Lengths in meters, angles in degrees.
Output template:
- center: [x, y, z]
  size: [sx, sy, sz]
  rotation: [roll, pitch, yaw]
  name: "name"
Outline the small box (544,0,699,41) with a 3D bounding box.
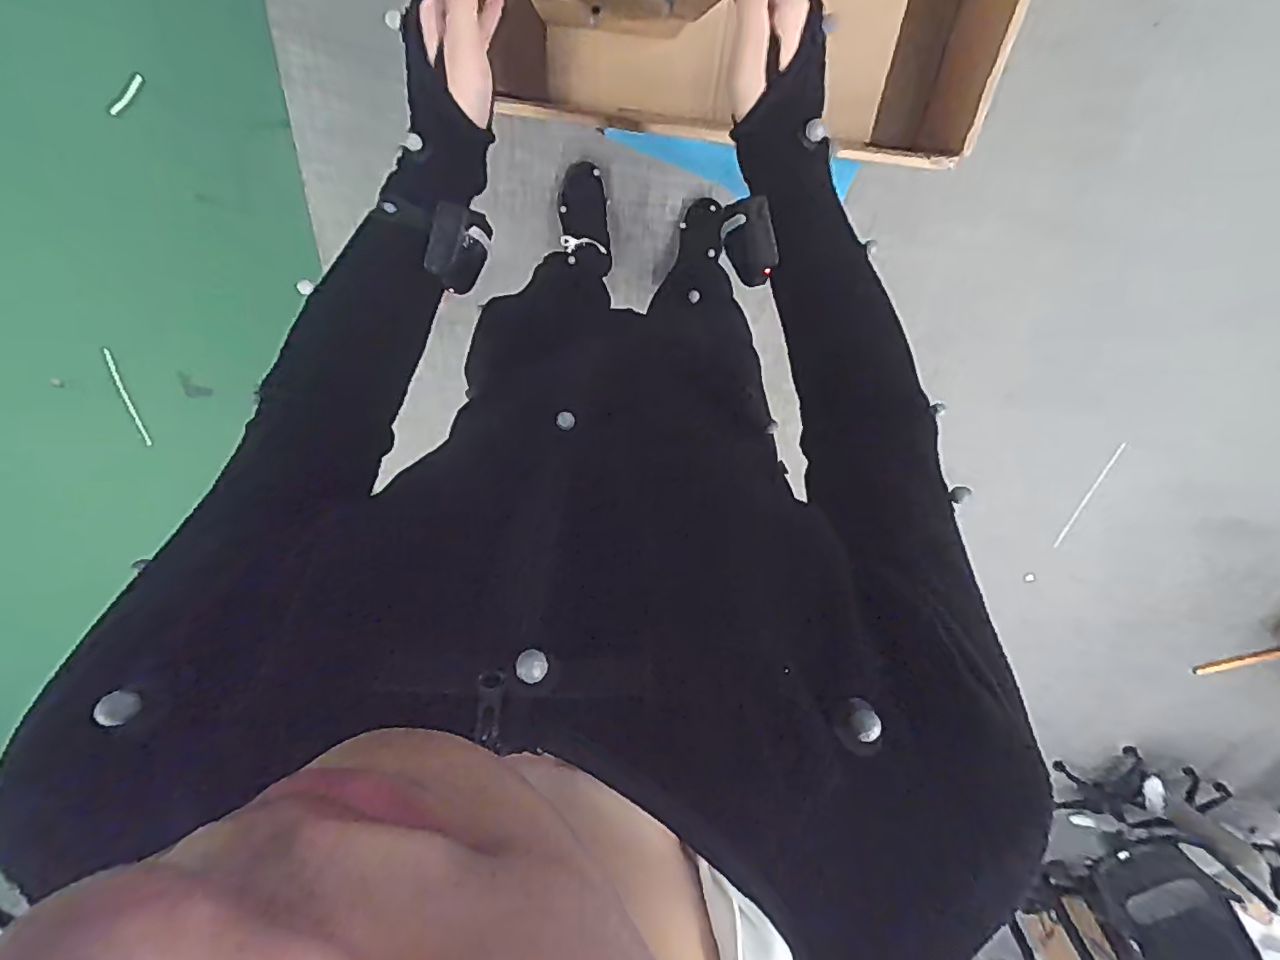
- center: [-0.019, -0.578, 0.548]
  size: [0.168, 0.176, 0.179]
  rotation: [3, 122, -5]
  name: "small box"
